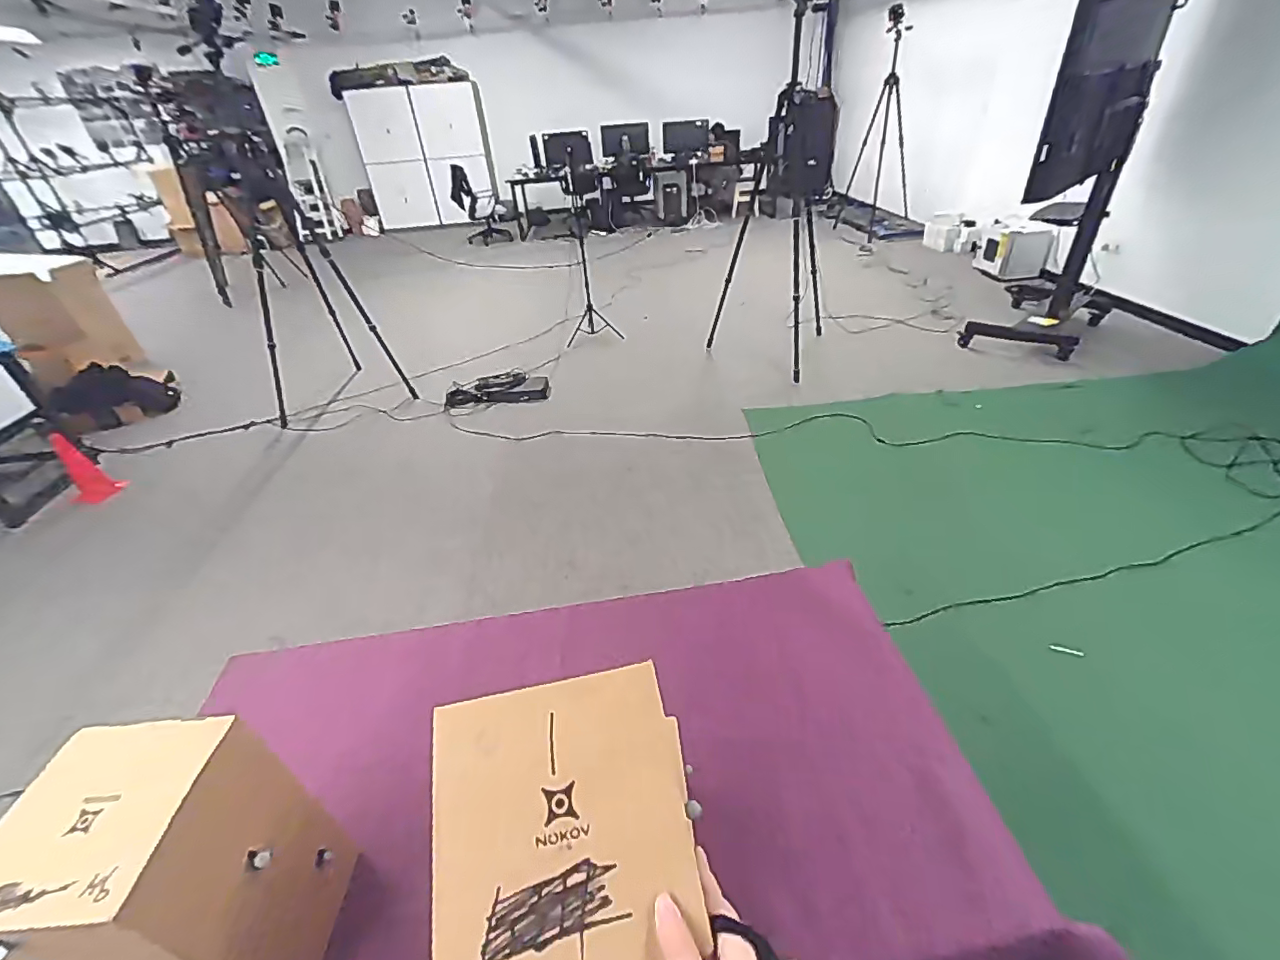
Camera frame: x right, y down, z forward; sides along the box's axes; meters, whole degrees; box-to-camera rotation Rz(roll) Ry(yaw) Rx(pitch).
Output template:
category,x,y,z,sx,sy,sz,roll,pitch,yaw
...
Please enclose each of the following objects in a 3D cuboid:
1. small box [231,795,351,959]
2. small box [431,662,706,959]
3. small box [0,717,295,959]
category,x,y,z,sx,sy,sz,roll,pitch,yaw
small box,-0.469,0.502,0.631,0.168,0.176,0.179,-5,36,1
small box,-0.053,0.265,0.424,0.168,0.176,0.179,-10,57,-6
small box,-0.483,0.367,0.536,0.168,0.176,0.179,-6,34,1
